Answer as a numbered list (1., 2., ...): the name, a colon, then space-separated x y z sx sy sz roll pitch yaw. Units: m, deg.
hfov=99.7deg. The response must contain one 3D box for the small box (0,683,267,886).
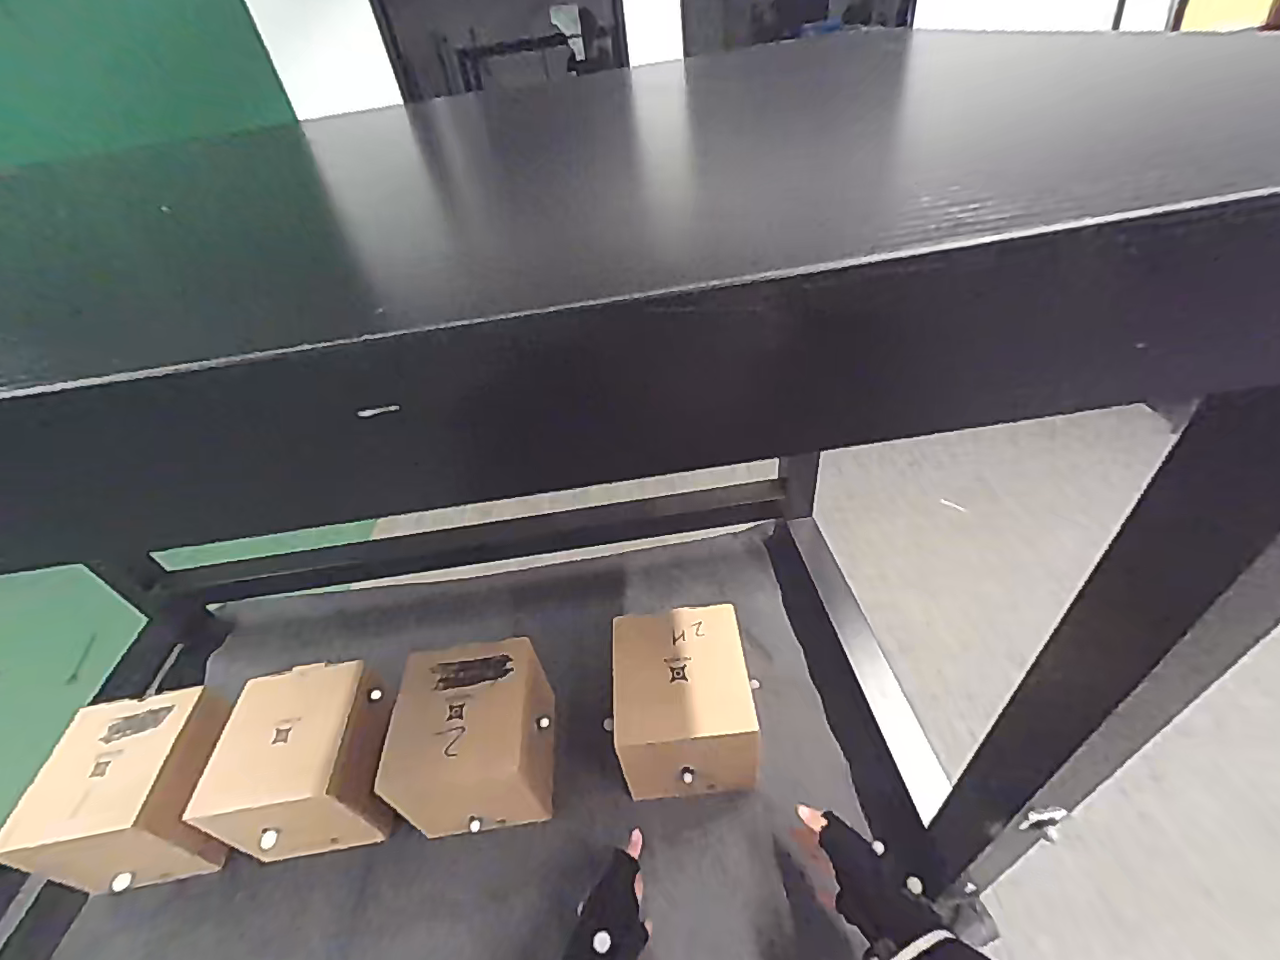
1. small box: -0.647 0.405 0.724 0.168 0.176 0.179 -10 40 -1

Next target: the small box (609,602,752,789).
1. small box: 0.054 0.290 0.717 0.168 0.176 0.179 -7 40 3
